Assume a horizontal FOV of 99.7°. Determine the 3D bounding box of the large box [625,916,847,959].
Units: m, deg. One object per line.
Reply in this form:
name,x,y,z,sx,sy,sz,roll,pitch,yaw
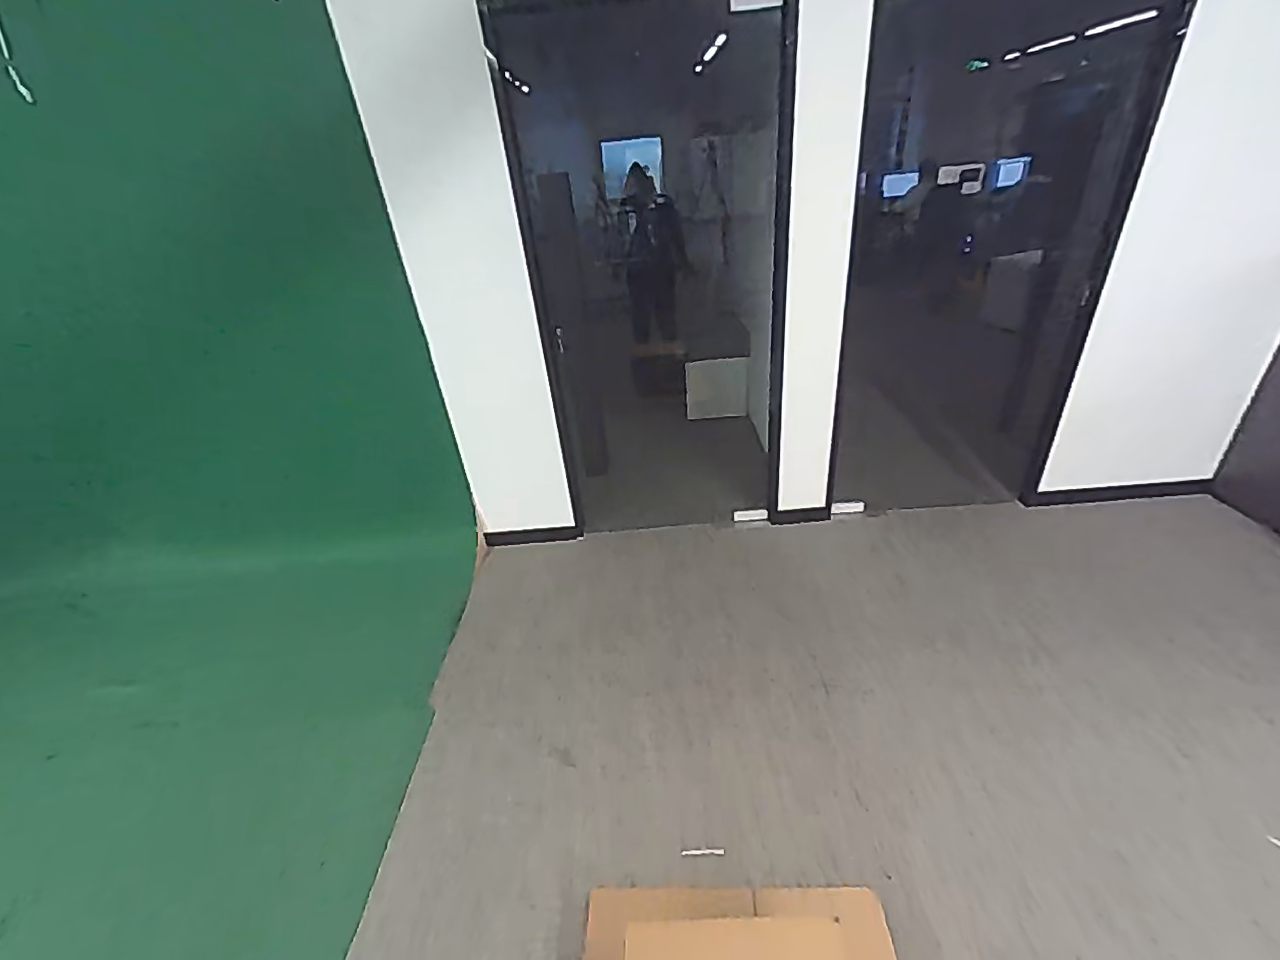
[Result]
large box,0.181,1.042,0.966,0.408,0.320,0.320,-3,30,2
